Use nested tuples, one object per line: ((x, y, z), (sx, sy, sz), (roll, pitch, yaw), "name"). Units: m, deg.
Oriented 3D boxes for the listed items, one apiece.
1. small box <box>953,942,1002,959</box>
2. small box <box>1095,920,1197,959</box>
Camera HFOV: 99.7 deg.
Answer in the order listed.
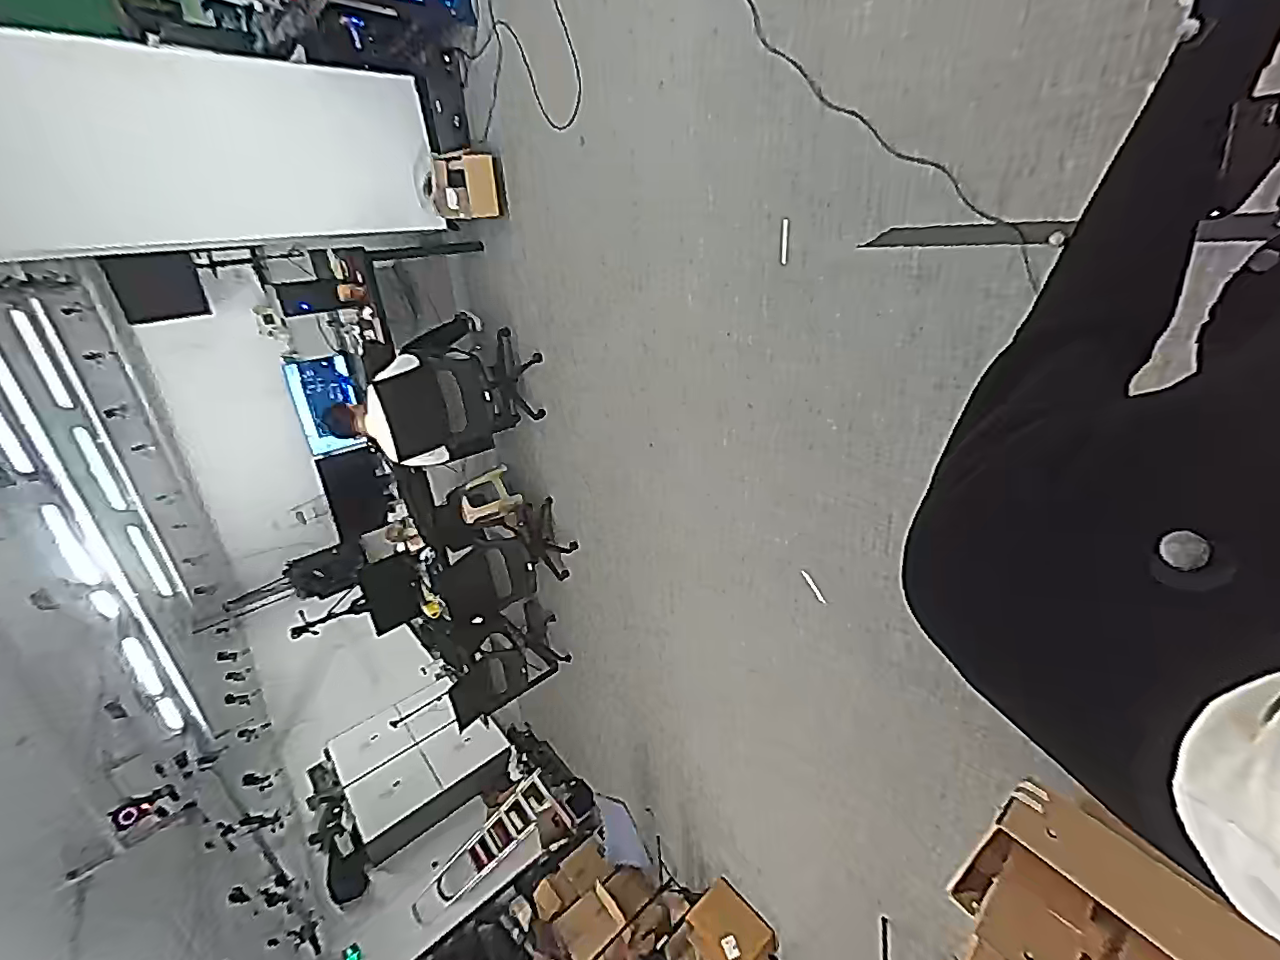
((0.729, 1.134, 1.133), (0.168, 0.176, 0.179), (34, 135, 36), "small box")
((1.123, 1.115, 1.177), (0.179, 0.176, 0.168), (36, 136, 40), "small box")
